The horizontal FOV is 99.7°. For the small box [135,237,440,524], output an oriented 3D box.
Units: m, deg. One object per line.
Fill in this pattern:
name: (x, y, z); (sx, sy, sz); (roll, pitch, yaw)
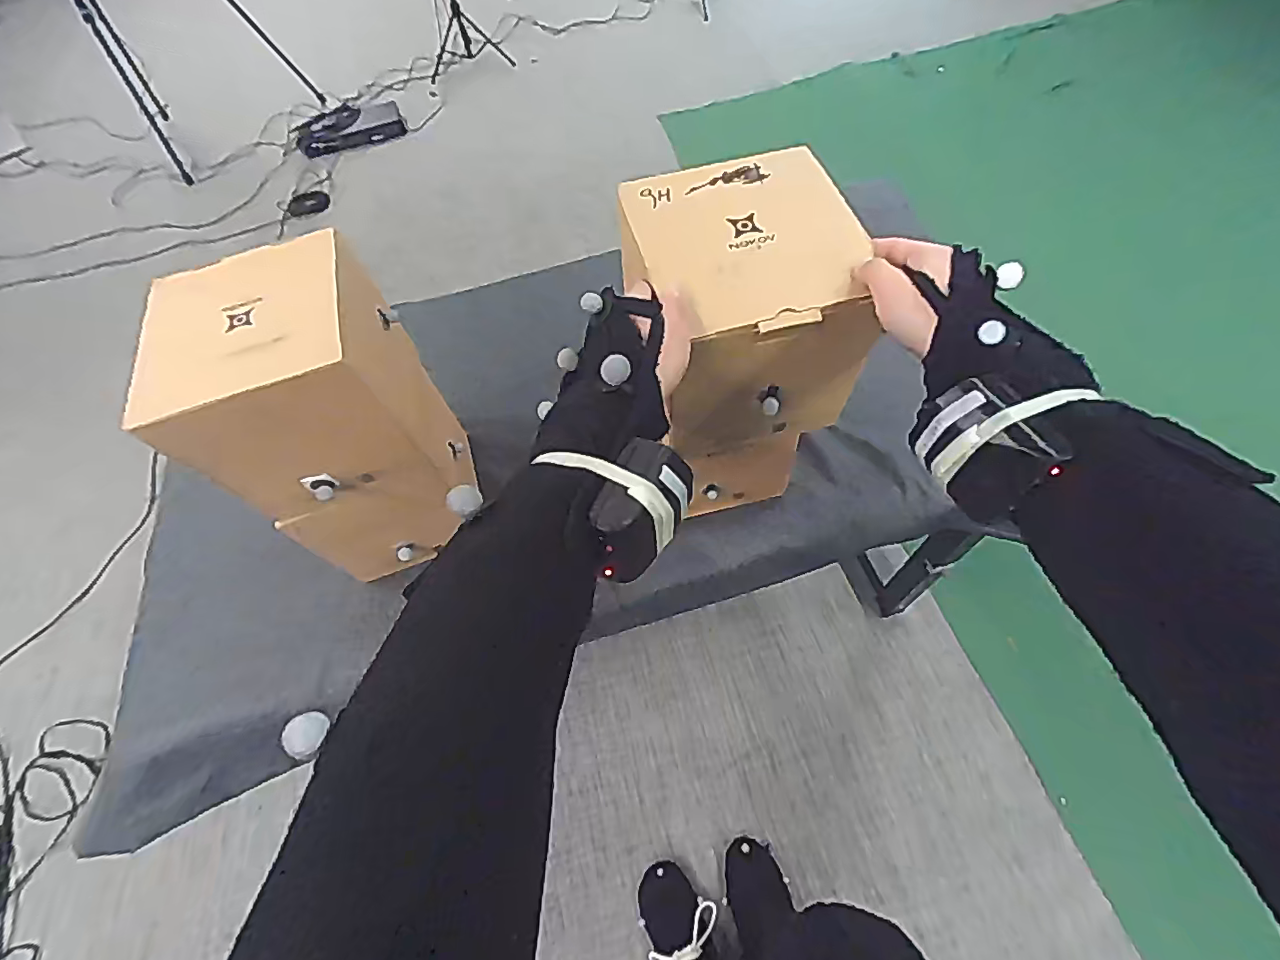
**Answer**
small box: (-0.309, -0.087, 0.510); (0.168, 0.176, 0.179); (-20, 60, -4)

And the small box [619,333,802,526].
small box: (0.076, -0.070, 0.649); (0.168, 0.176, 0.179); (-13, 59, -2)

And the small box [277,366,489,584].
small box: (-0.298, -0.002, 0.649); (0.168, 0.176, 0.179); (-19, 60, -5)

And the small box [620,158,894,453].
small box: (0.085, -0.140, 0.479); (0.168, 0.176, 0.179); (-13, 63, -4)
